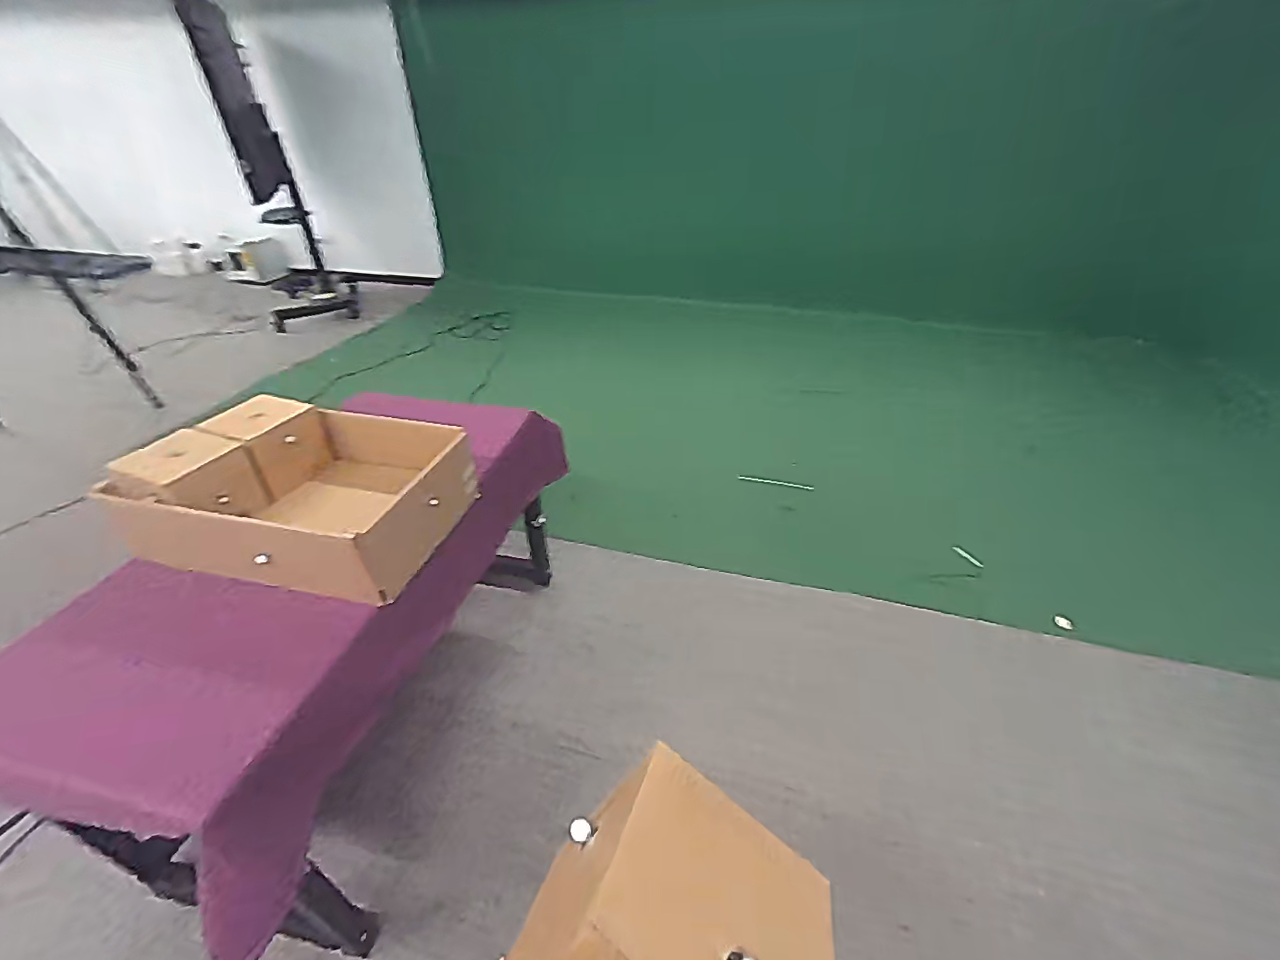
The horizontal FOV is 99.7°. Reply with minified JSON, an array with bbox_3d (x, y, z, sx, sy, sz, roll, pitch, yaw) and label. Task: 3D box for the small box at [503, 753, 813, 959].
[{"bbox_3d":[0.013,0.351,0.400,0.179,0.168,0.176,37,18,7],"label":"small box"}]
